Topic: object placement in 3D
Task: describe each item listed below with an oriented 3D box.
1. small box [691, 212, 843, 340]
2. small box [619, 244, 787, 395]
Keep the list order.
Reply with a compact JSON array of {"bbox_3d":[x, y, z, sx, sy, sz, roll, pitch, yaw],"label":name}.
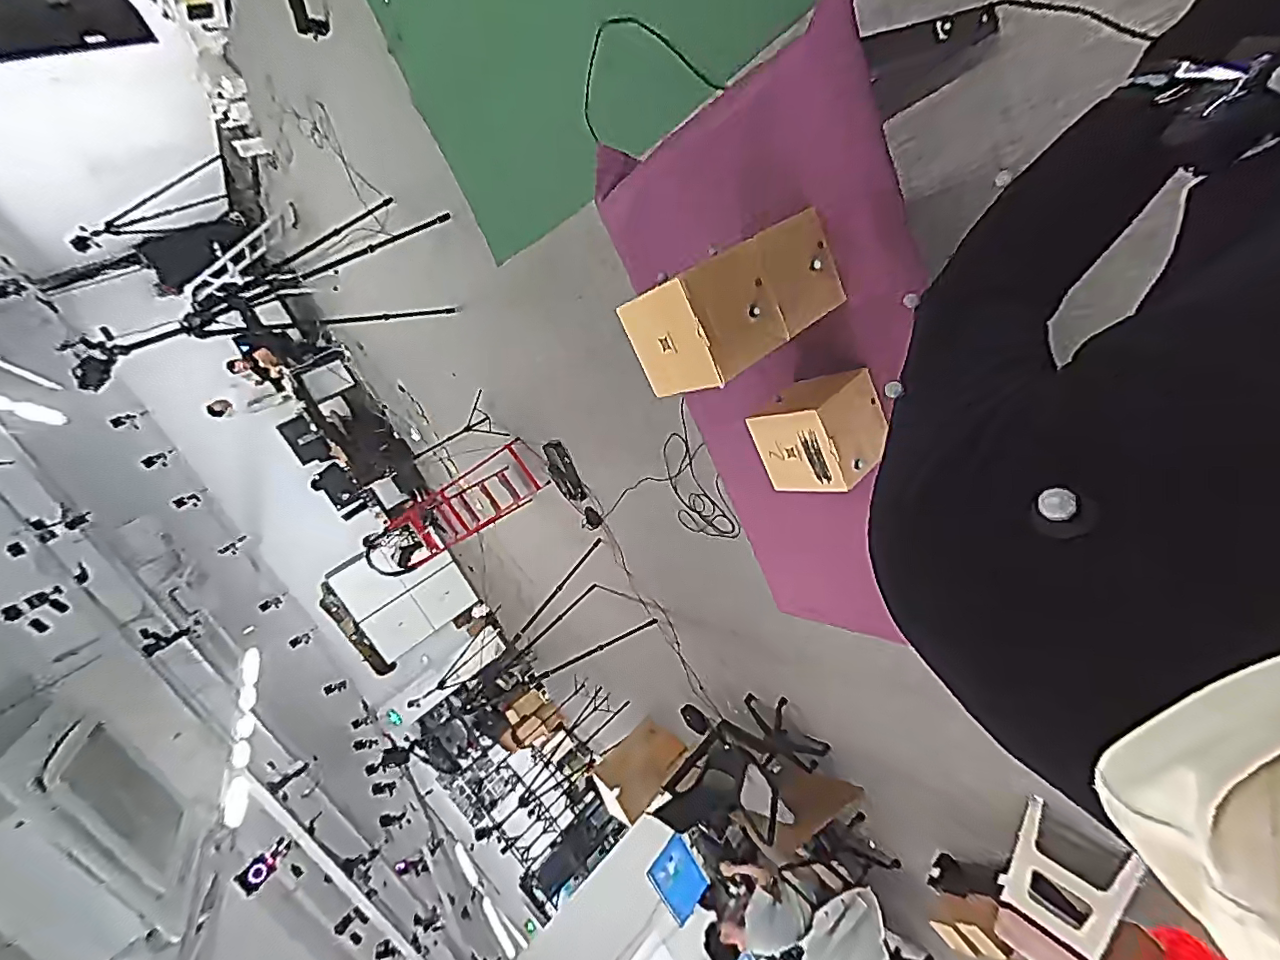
[{"bbox_3d":[0.220,-0.341,0.952,0.179,0.176,0.168,1,122,56],"label":"small box"},{"bbox_3d":[0.103,-0.256,0.878,0.179,0.176,0.168,0,121,56],"label":"small box"}]
